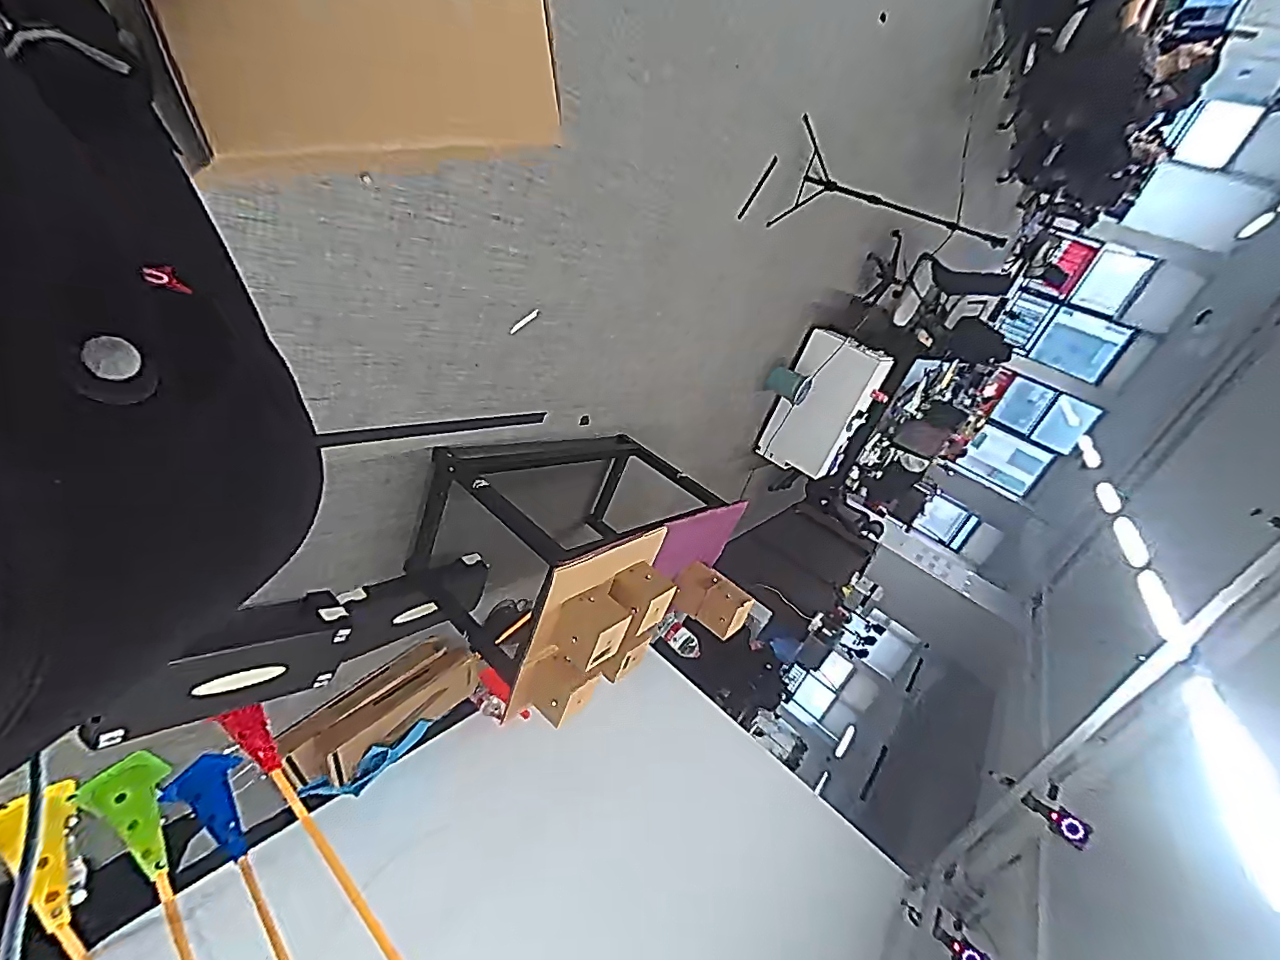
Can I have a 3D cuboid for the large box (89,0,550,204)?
[{"bbox_3d":[-0.345,-0.481,0.552,0.320,0.408,0.320,-26,124,-32],"label":"large box"}]
